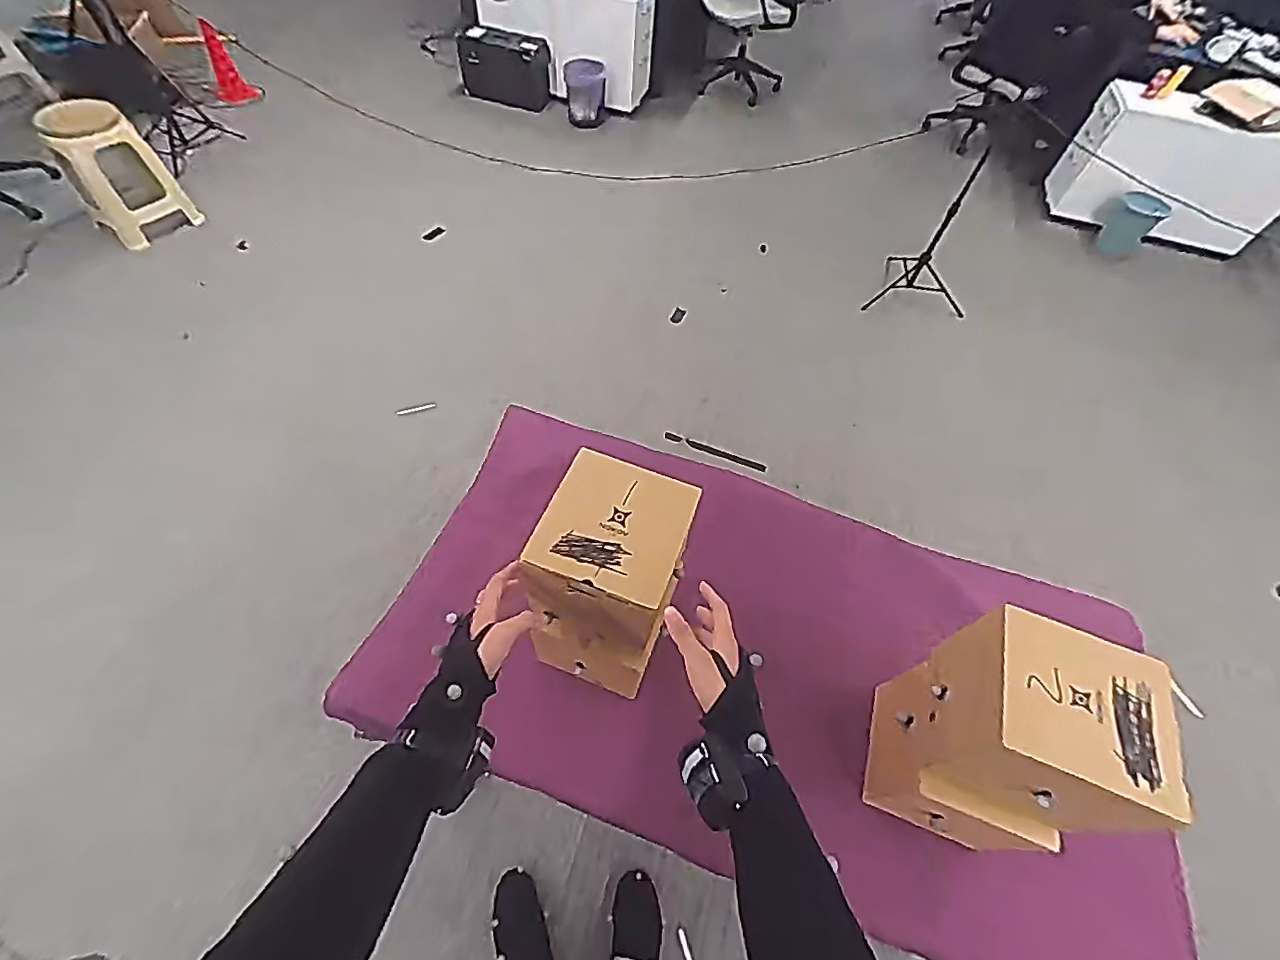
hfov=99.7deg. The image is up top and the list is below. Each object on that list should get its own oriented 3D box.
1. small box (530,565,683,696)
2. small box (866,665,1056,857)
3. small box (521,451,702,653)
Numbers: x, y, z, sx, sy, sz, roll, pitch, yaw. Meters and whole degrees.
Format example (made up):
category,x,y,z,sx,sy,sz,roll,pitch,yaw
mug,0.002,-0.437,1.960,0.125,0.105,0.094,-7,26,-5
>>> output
category,x,y,z,sx,sy,sz,roll,pitch,yaw
small box,-0.048,0.206,0.827,0.168,0.176,0.179,21,57,8
small box,0.433,0.391,0.751,0.168,0.176,0.179,20,56,9
small box,-0.034,0.099,0.701,0.168,0.176,0.179,20,56,8
